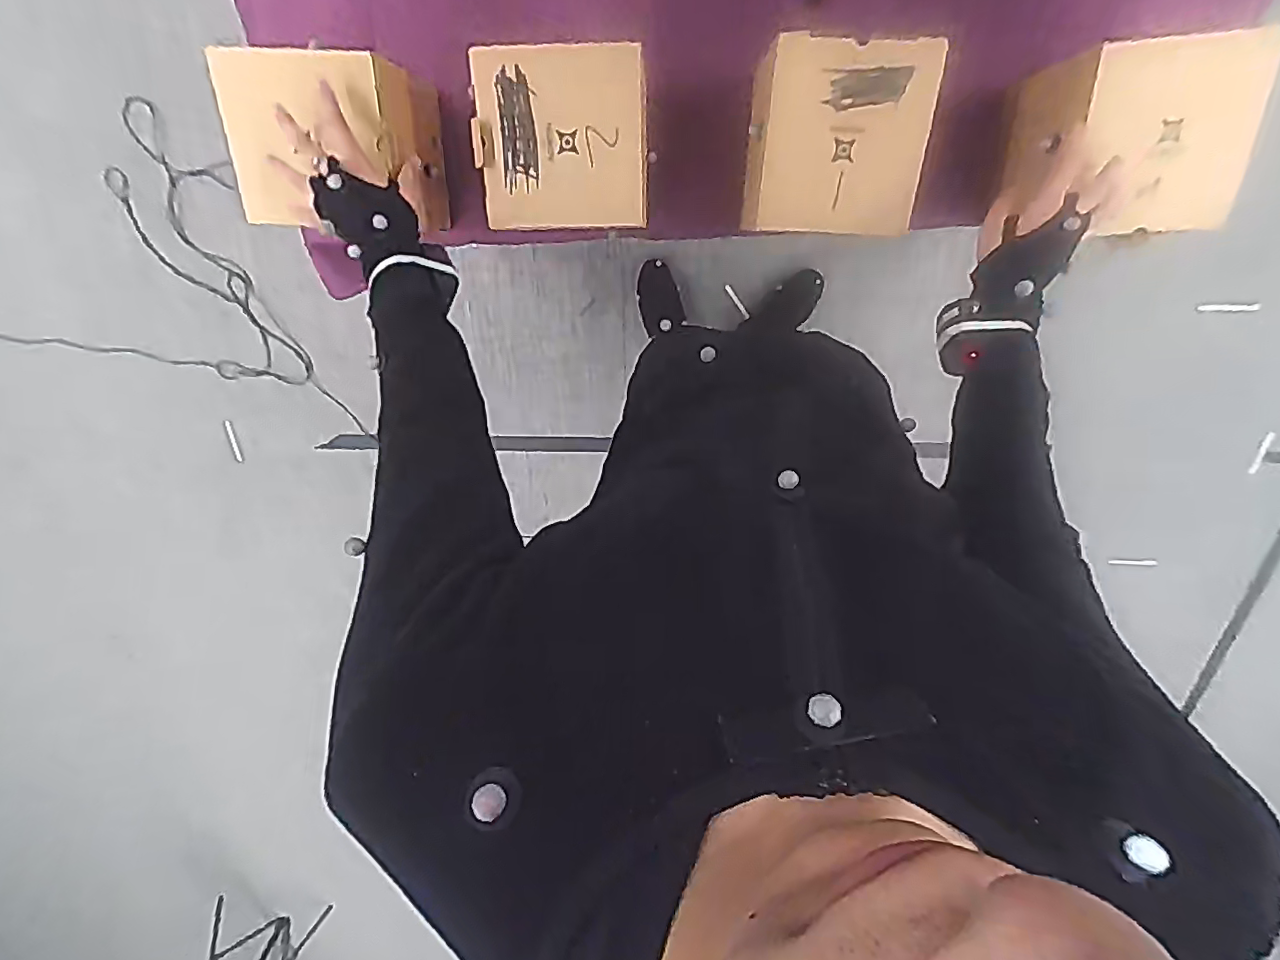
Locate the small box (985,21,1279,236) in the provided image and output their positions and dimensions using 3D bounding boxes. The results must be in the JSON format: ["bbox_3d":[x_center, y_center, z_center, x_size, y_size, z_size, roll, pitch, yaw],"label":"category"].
[{"bbox_3d":[0.527,-0.376,0.612,0.168,0.176,0.179,-2,115,5],"label":"small box"}]

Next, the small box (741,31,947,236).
[{"bbox_3d":[0.215,-0.384,0.627,0.168,0.176,0.179,3,116,2],"label":"small box"}]
